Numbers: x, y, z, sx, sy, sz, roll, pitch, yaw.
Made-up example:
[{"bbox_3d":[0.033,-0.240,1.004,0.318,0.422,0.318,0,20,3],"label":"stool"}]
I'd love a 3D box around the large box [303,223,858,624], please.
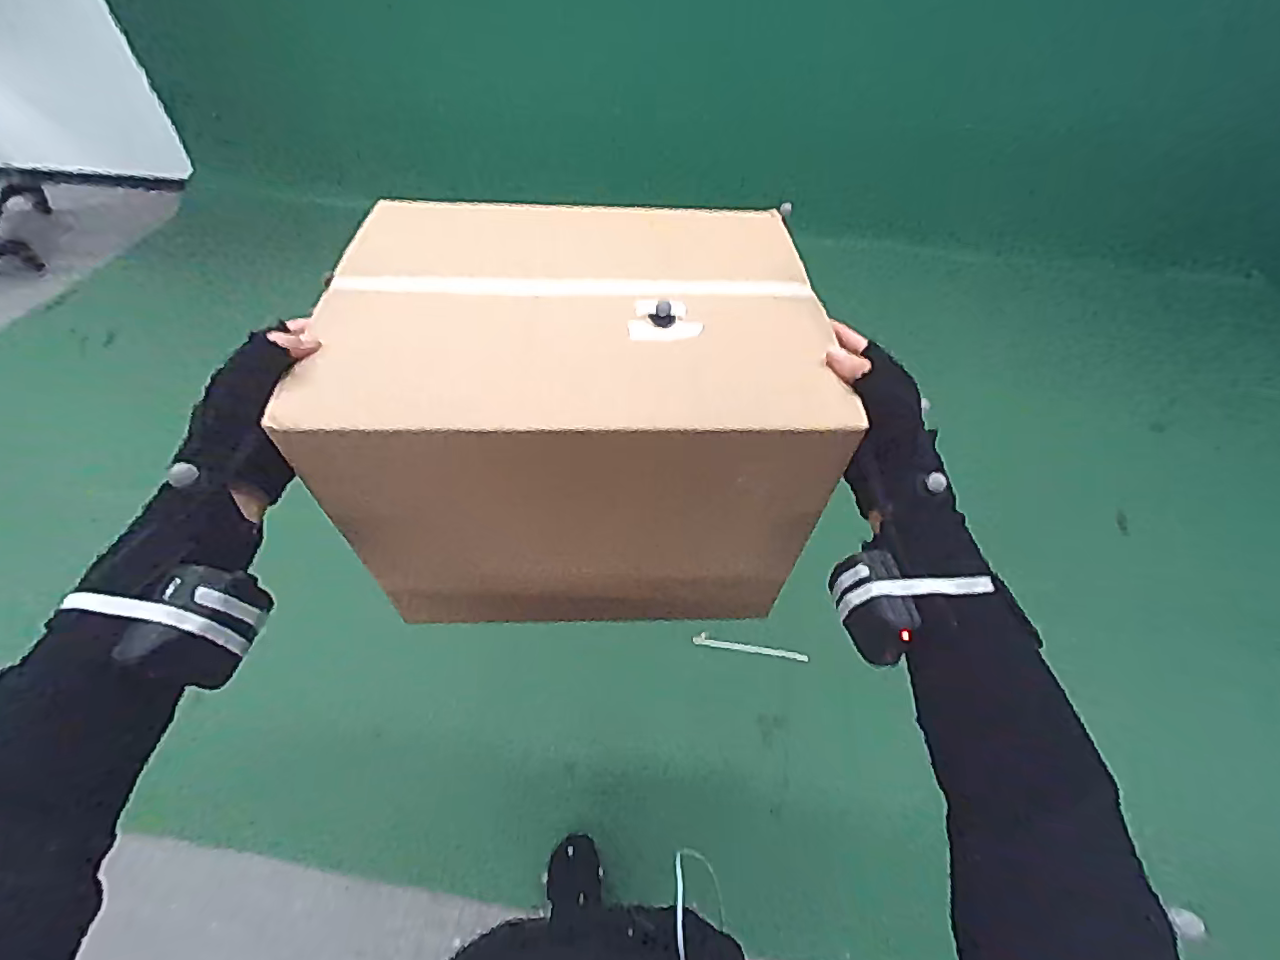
[{"bbox_3d":[-0.052,-0.052,0.590,0.408,0.320,0.320,1,51,-4],"label":"large box"}]
